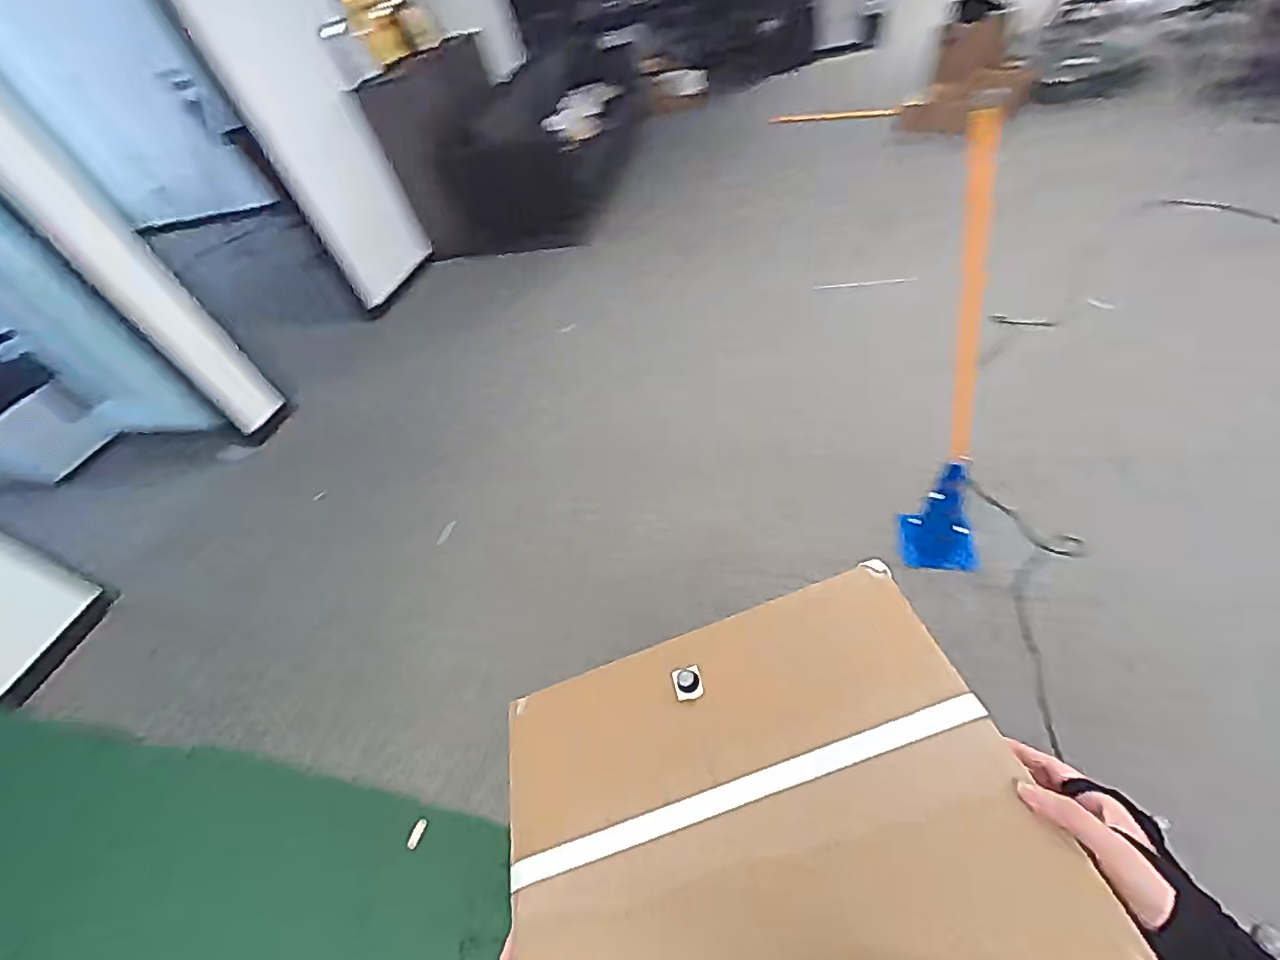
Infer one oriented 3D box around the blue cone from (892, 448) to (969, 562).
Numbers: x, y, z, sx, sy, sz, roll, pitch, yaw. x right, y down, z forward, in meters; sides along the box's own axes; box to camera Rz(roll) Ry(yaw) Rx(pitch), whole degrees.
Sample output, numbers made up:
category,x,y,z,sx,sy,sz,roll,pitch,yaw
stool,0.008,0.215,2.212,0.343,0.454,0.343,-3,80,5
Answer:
category,x,y,z,sx,sy,sz,roll,pitch,yaw
blue cone,0.843,0.061,1.533,0.193,0.380,0.192,-2,47,17
